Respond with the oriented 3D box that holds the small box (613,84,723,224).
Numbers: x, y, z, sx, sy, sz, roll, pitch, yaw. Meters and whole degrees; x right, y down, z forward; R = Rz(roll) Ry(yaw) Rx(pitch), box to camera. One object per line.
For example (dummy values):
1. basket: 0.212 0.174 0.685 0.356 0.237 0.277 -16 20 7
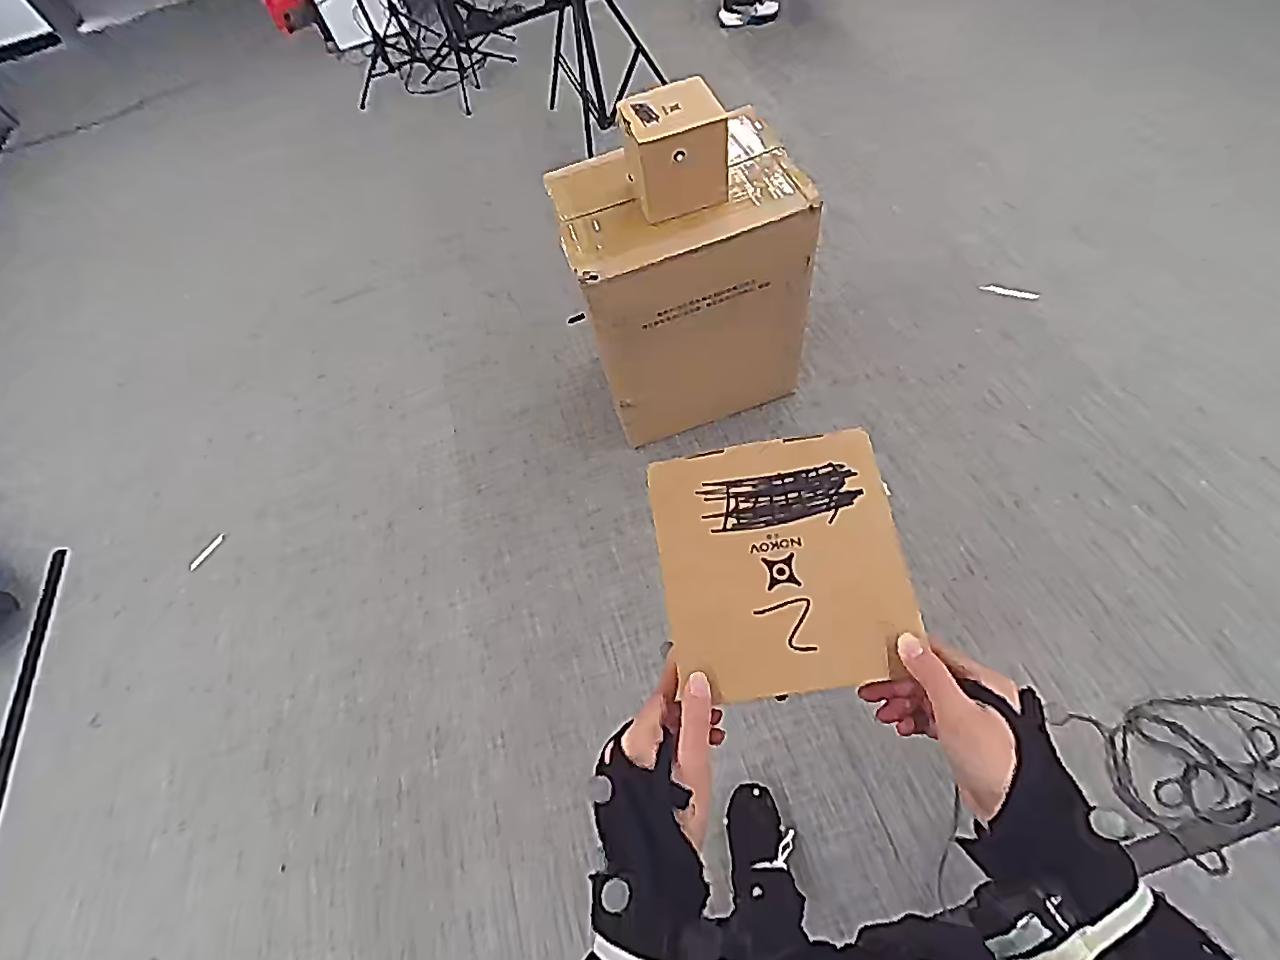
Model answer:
1. small box: 0.061 -0.655 1.099 0.179 0.176 0.168 -18 60 -1
